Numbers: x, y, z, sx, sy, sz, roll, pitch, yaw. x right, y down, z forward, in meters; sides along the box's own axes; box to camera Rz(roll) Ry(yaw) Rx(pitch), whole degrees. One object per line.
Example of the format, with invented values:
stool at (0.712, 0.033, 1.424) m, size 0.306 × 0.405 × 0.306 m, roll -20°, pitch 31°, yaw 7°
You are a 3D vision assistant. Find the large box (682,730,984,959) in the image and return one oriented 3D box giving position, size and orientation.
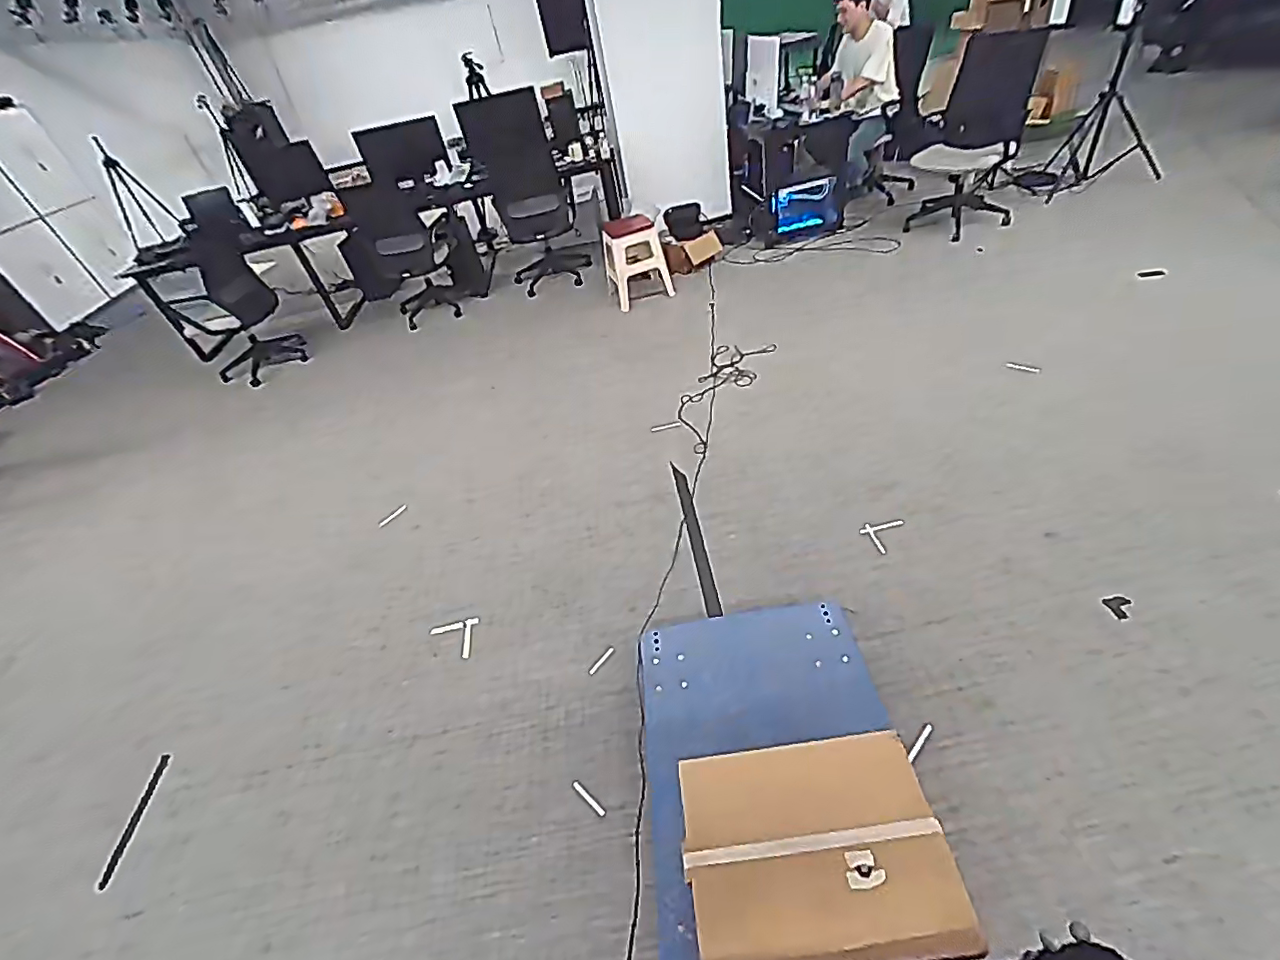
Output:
large box at (0.309, 0.705, 0.983) m, size 0.408 × 0.320 × 0.320 m, roll -10°, pitch 41°, yaw 3°
